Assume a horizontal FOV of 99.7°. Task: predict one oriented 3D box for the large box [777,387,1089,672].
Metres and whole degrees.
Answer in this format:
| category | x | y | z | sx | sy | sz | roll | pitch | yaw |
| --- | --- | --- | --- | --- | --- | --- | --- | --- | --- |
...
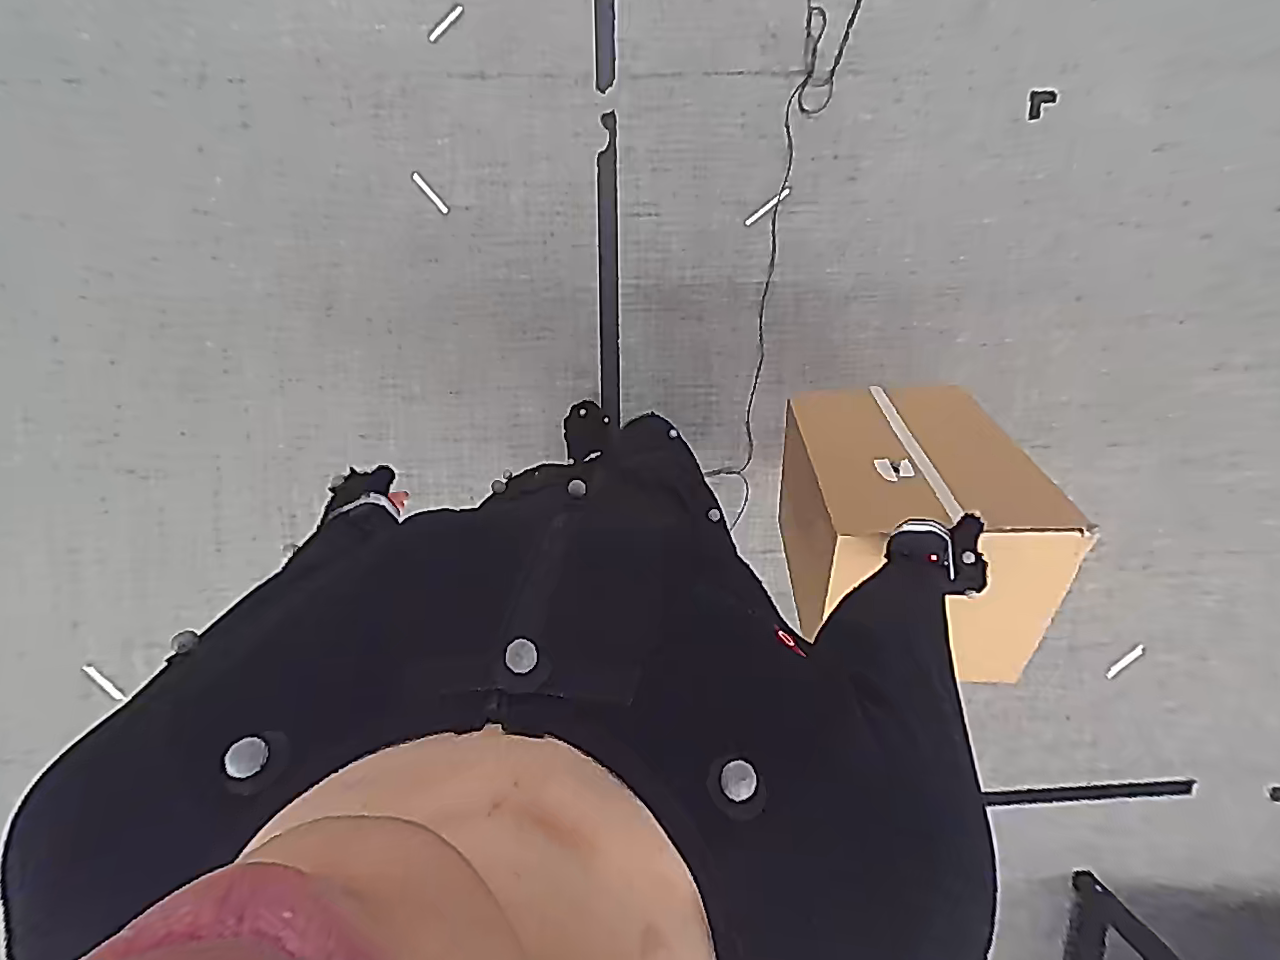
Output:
| category | x | y | z | sx | sy | sz | roll | pitch | yaw |
| --- | --- | --- | --- | --- | --- | --- | --- | --- | --- |
| large box | 0.435 | 0.071 | 0.939 | 0.320 | 0.408 | 0.320 | -2 | 127 | 6 |
